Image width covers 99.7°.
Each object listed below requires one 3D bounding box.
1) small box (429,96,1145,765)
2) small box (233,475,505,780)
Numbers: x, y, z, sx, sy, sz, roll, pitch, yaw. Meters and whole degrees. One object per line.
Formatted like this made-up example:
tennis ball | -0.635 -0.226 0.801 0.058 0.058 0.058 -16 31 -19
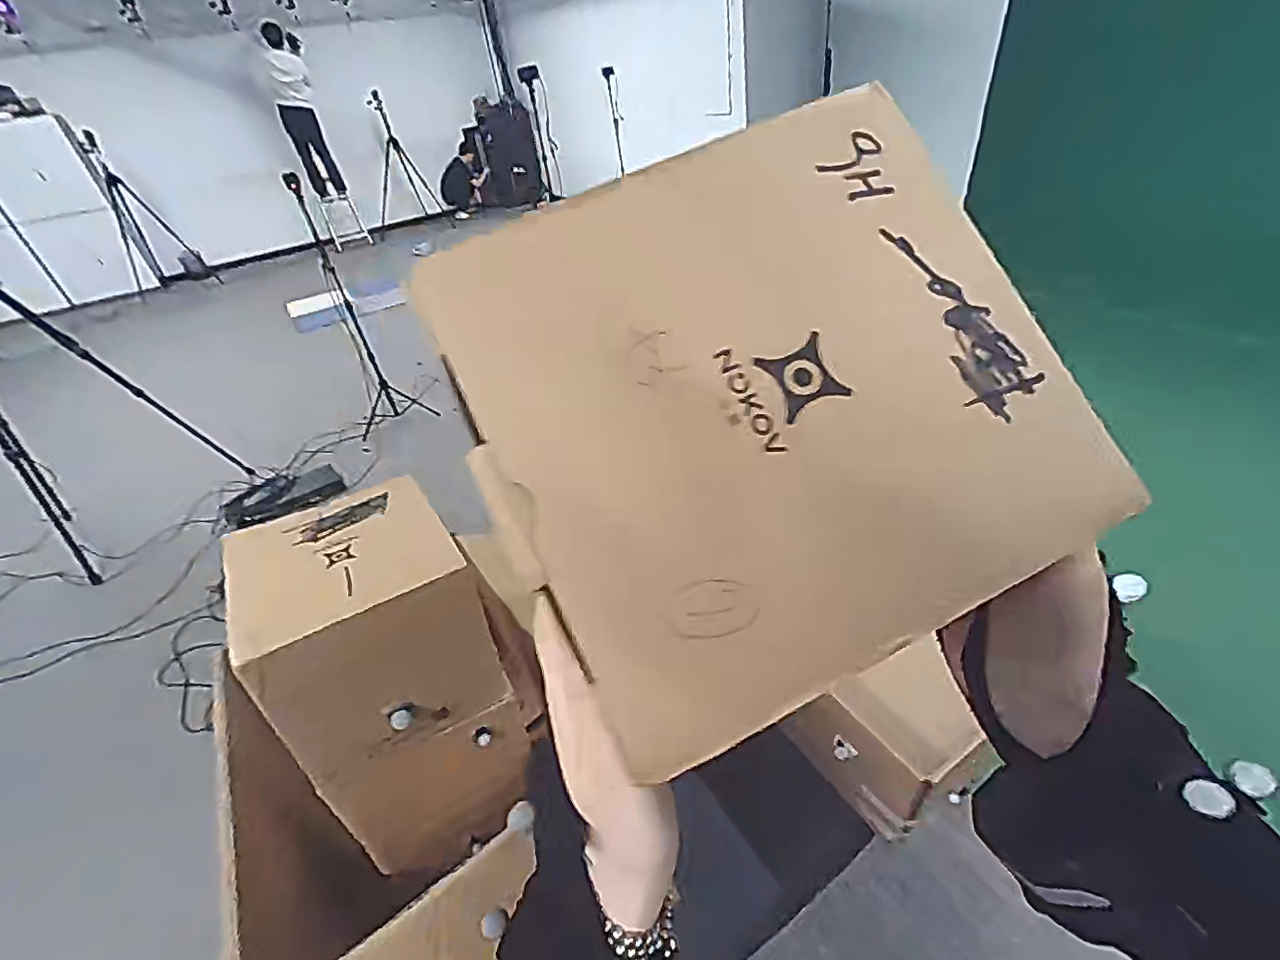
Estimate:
small box | 0.041 -0.012 0.247 0.179 0.176 0.168 -26 82 -7
small box | -0.243 0.126 0.498 0.168 0.176 0.179 -23 39 -26
